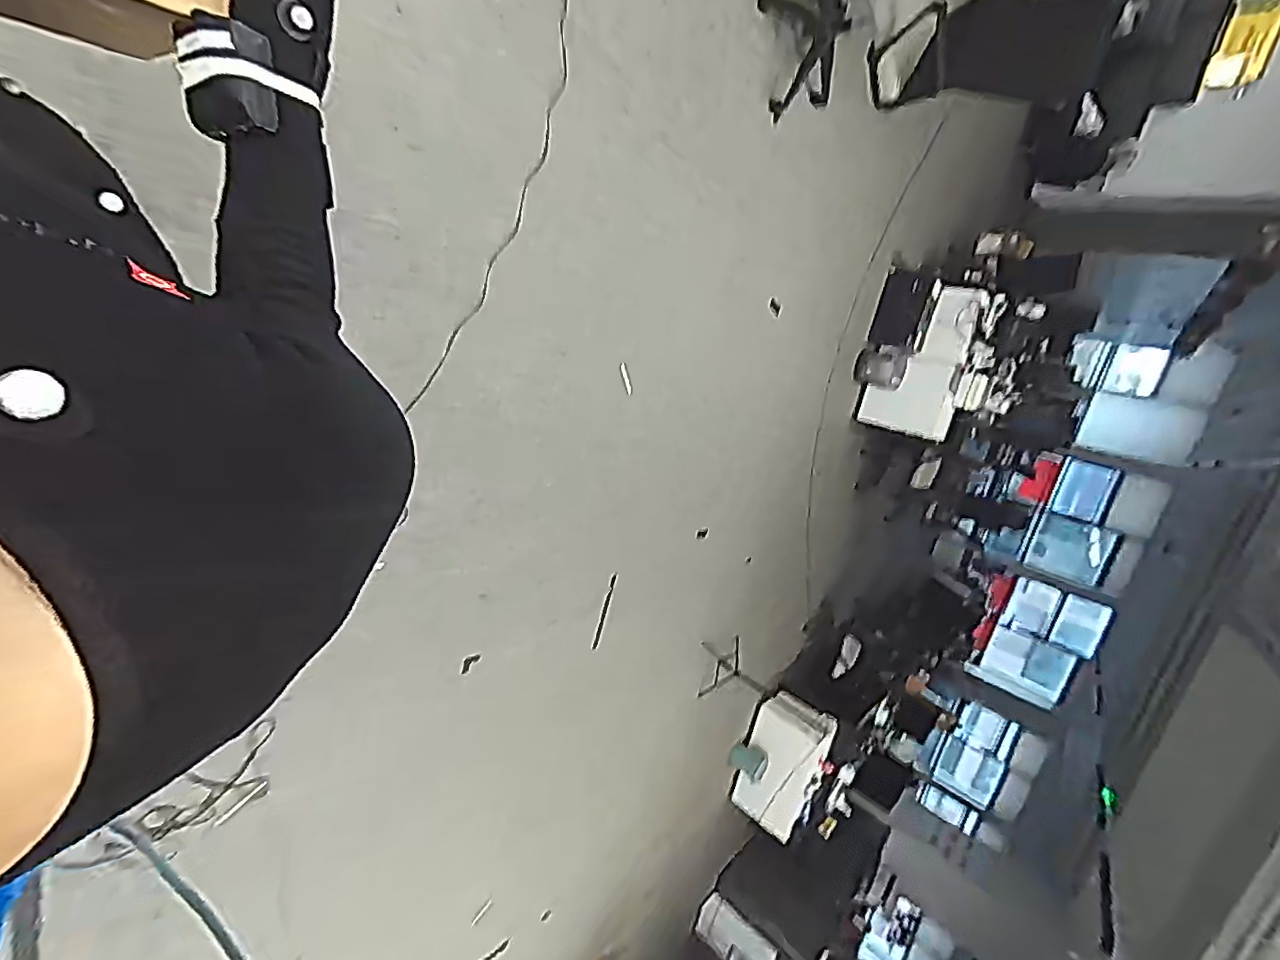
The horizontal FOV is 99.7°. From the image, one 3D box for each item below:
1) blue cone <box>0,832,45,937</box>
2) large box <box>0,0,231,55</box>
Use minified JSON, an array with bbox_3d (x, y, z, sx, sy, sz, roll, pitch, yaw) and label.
[{"bbox_3d":[-1.343,0.916,1.077,0.193,0.380,0.192,34,82,-51],"label":"blue cone"},{"bbox_3d":[-0.514,-0.484,0.275,0.408,0.320,0.320,-16,124,-47],"label":"large box"}]
